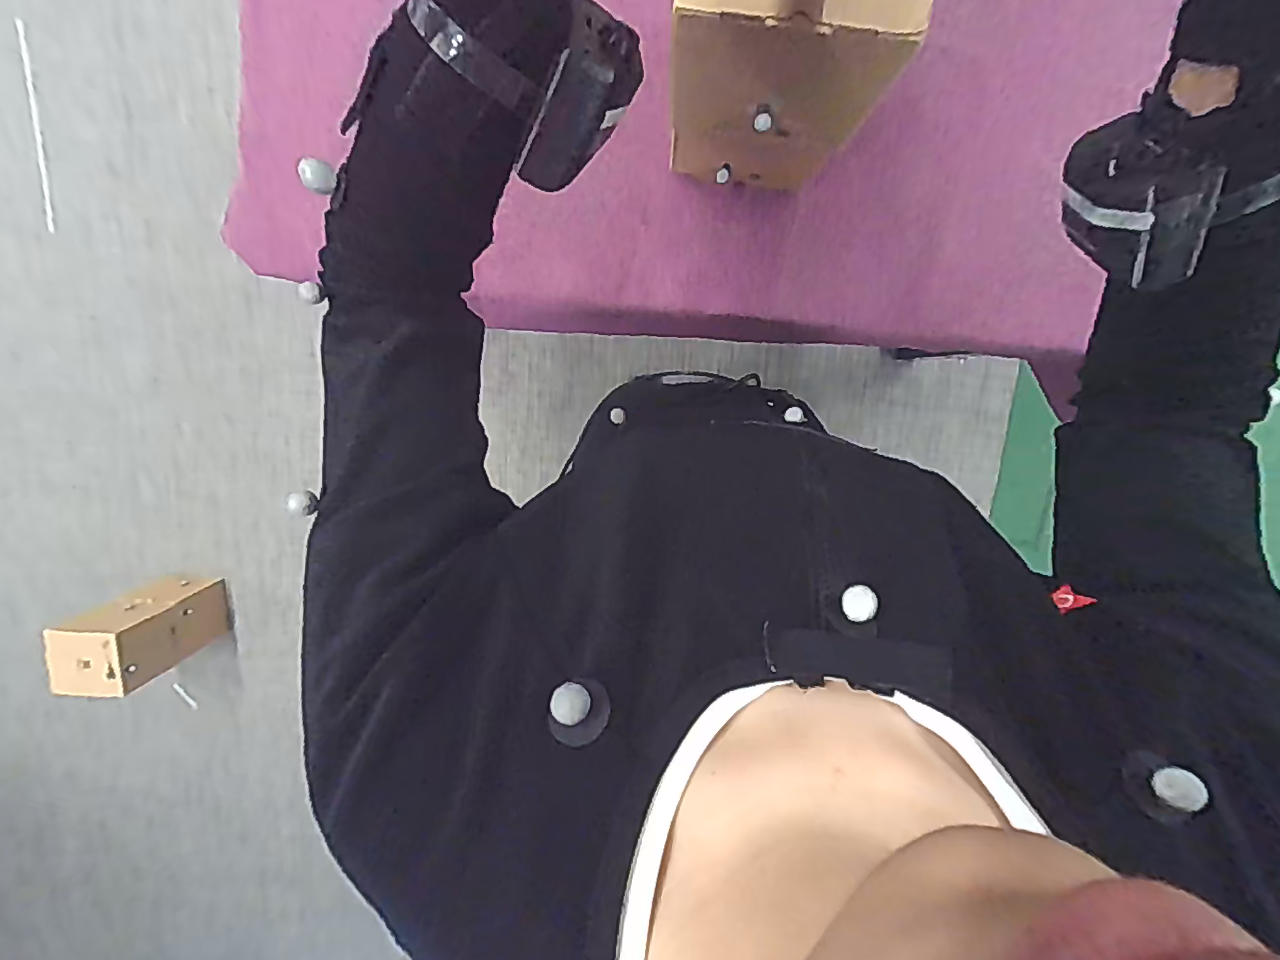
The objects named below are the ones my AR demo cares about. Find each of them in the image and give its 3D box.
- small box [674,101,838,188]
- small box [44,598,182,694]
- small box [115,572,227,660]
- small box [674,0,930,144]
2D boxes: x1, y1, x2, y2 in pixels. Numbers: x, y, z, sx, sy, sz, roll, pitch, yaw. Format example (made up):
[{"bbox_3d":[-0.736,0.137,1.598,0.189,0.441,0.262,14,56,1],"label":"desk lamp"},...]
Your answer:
[{"bbox_3d":[0.129,-0.442,0.574,0.168,0.176,0.179,9,101,0],"label":"small box"},{"bbox_3d":[-1.292,0.403,1.337,0.179,0.176,0.168,4,101,2],"label":"small box"},{"bbox_3d":[-1.289,0.373,1.499,0.168,0.176,0.179,4,101,1],"label":"small box"},{"bbox_3d":[0.118,-0.398,0.416,0.168,0.176,0.179,8,101,1],"label":"small box"}]
